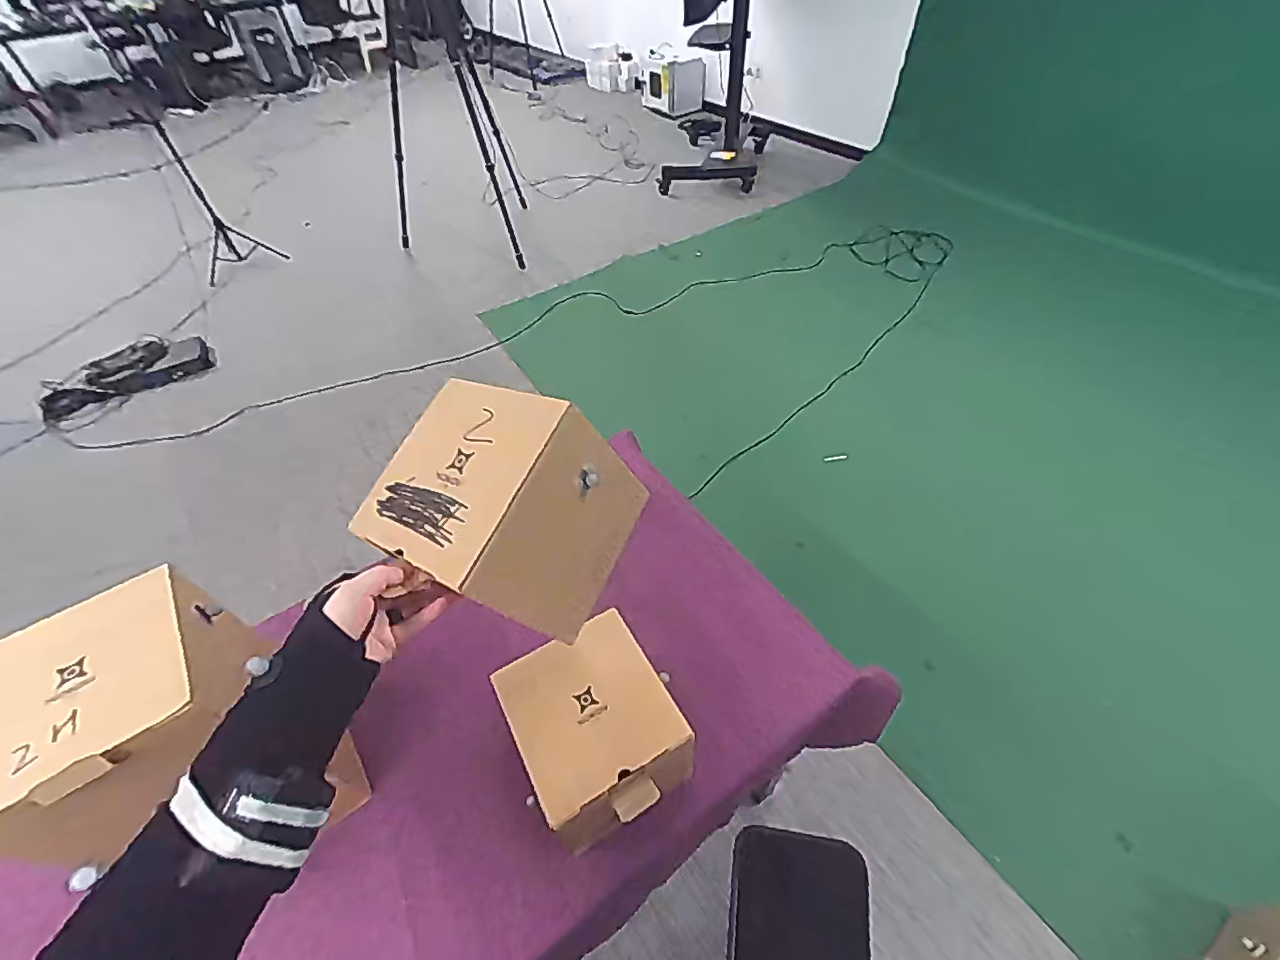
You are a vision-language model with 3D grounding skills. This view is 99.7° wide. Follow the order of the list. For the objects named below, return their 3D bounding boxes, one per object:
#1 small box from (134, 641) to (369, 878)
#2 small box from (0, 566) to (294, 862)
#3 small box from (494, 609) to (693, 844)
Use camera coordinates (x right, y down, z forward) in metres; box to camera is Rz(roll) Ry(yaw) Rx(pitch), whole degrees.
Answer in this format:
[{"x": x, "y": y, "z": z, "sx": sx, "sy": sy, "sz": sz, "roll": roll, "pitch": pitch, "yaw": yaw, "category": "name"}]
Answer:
[{"x": -0.453, "y": 0.334, "z": 0.642, "sx": 0.168, "sy": 0.176, "sz": 0.179, "roll": -29, "pitch": 53, "yaw": -21, "category": "small box"}, {"x": -0.474, "y": 0.224, "z": 0.521, "sx": 0.168, "sy": 0.176, "sz": 0.179, "roll": -30, "pitch": 54, "yaw": -21, "category": "small box"}, {"x": -0.053, "y": 0.296, "z": 0.649, "sx": 0.168, "sy": 0.176, "sz": 0.179, "roll": -26, "pitch": 52, "yaw": -18, "category": "small box"}]
